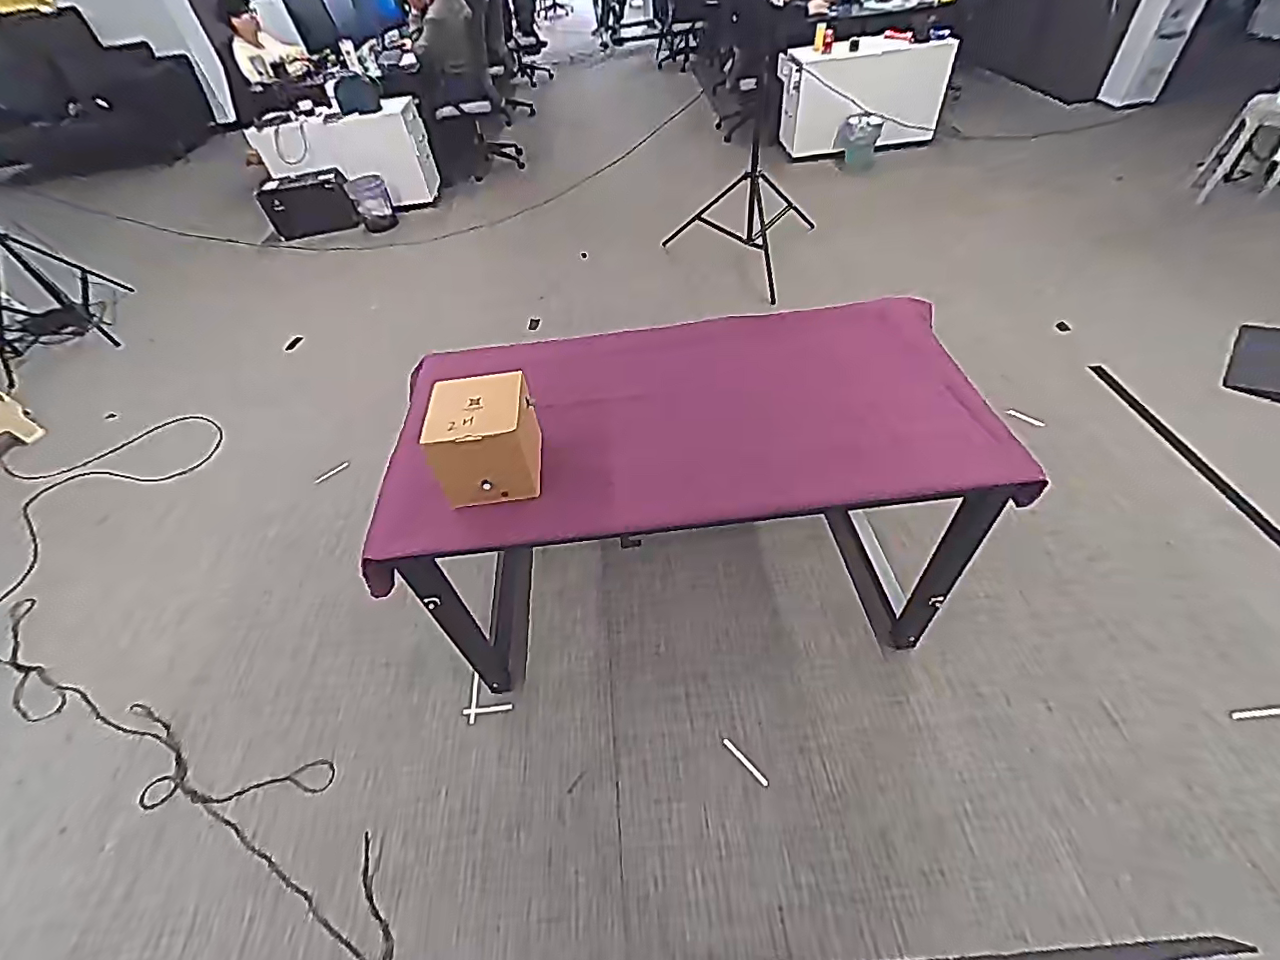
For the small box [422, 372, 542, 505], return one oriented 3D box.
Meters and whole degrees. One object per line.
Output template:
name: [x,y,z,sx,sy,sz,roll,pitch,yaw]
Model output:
small box: [-0.283,-0.077,1.012,0.168,0.176,0.179,-8,47,0]
